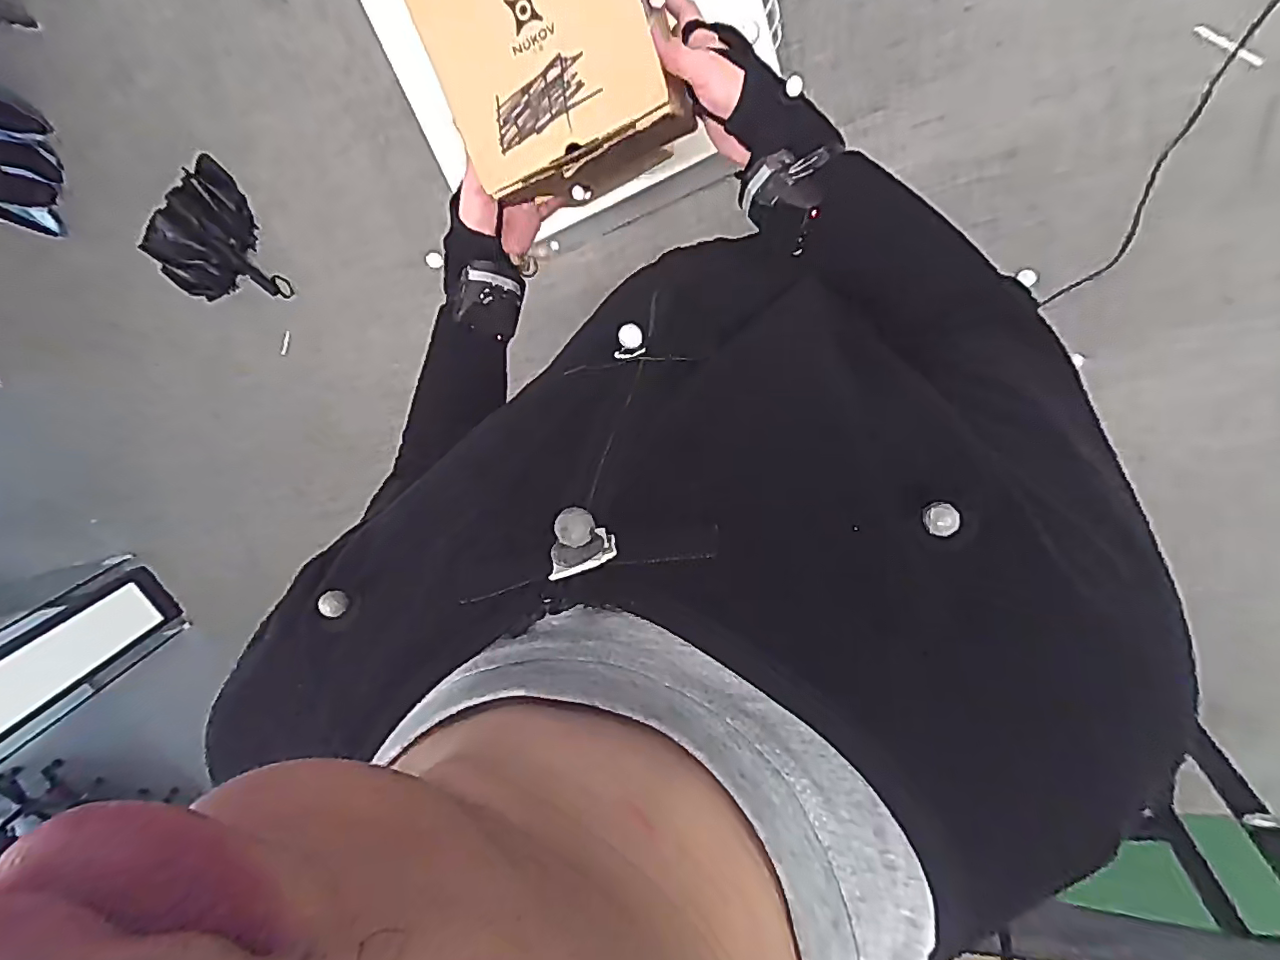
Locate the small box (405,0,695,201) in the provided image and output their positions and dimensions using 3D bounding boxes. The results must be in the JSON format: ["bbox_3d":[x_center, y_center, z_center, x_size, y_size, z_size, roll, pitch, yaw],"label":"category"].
[{"bbox_3d":[-0.062,-0.363,0.460,0.168,0.176,0.179,-16,113,20],"label":"small box"}]

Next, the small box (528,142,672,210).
[{"bbox_3d":[-0.076,-0.469,0.694,0.168,0.176,0.179,-18,110,23],"label":"small box"}]
